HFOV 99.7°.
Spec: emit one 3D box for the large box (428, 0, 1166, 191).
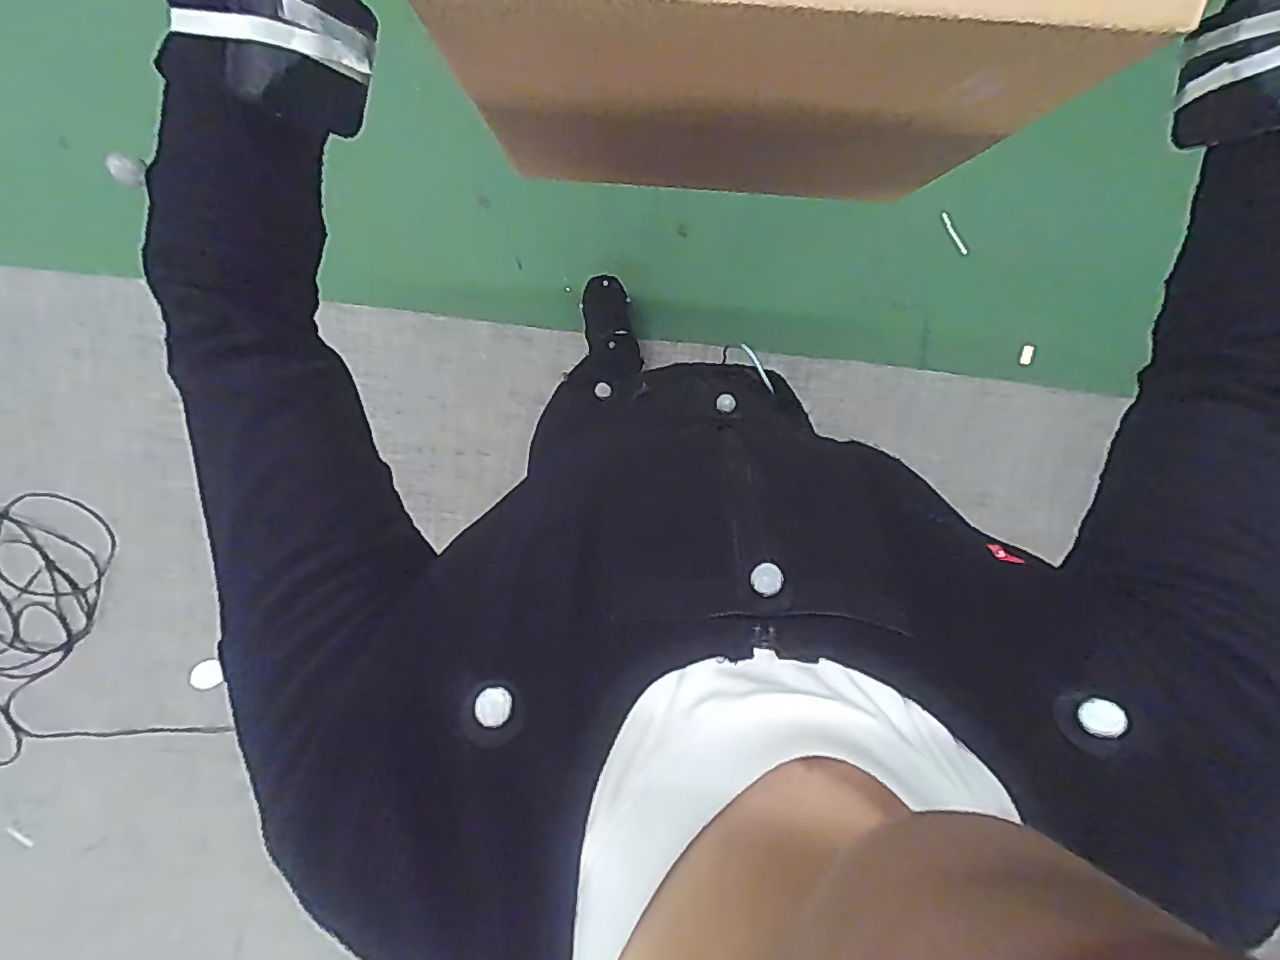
[{"bbox_3d":[0.081,-0.427,0.395,0.408,0.320,0.320,2,103,-1],"label":"large box"}]
